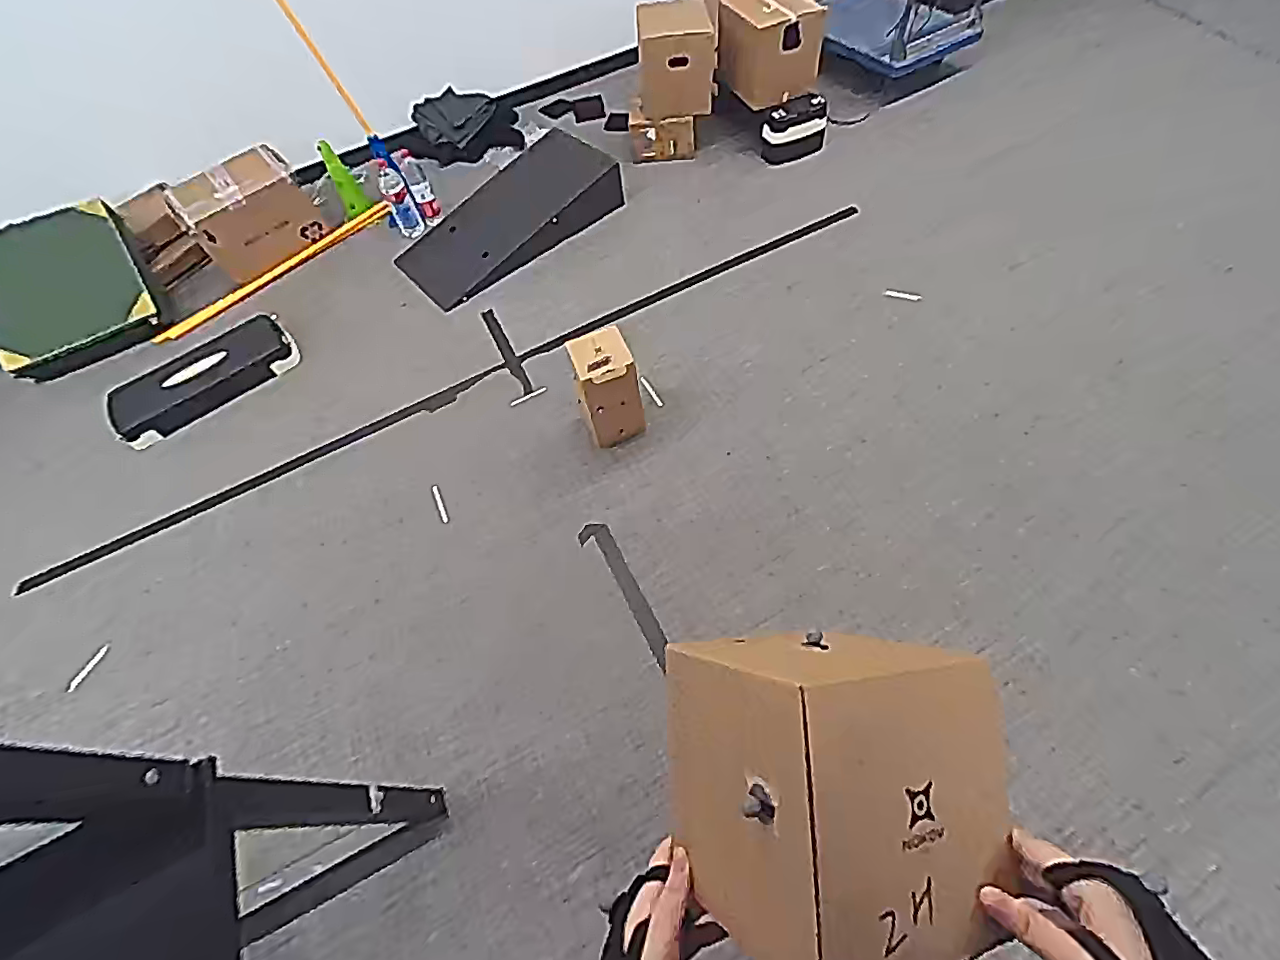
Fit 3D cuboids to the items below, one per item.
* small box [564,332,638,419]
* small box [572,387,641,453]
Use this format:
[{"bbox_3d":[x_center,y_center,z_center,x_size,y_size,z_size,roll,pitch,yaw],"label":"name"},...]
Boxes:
[{"bbox_3d":[-0.114,-0.306,1.627,0.168,0.176,0.179,-20,57,-6],"label":"small box"},{"bbox_3d":[-0.103,-0.220,1.768,0.179,0.176,0.168,-24,58,-9],"label":"small box"}]
